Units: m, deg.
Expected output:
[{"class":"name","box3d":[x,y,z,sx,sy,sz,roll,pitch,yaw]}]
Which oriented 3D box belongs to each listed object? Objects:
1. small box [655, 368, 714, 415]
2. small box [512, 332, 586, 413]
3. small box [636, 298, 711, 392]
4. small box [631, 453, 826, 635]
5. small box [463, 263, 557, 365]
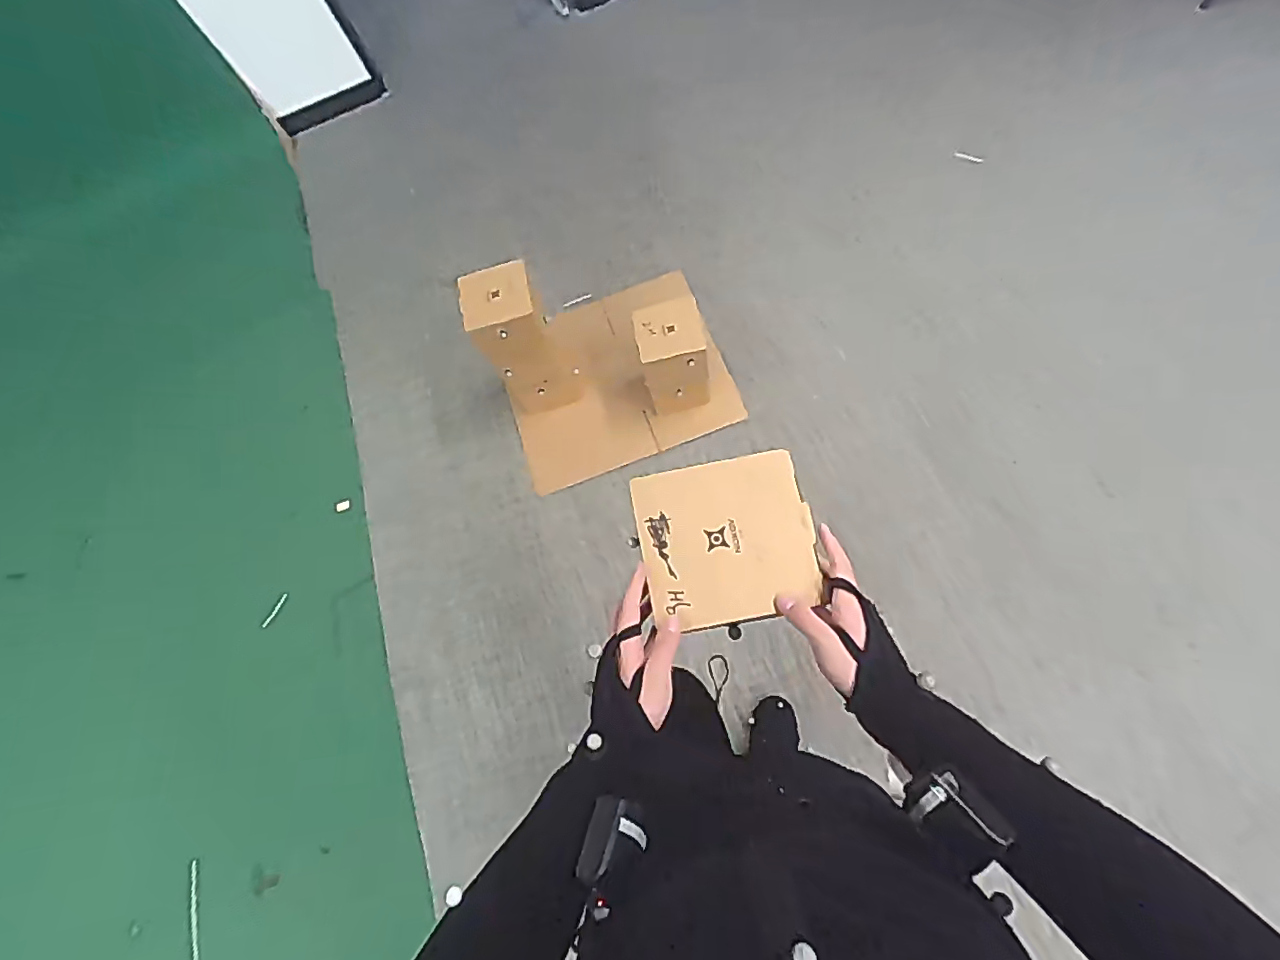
[{"class":"small box","box3d":[0.122,-0.320,1.637,0.179,0.176,0.168,-16,70,5]},{"class":"small box","box3d":[-0.287,-0.333,1.710,0.179,0.176,0.168,-17,70,4]},{"class":"small box","box3d":[0.096,-0.364,1.479,0.179,0.176,0.168,-12,70,7]},{"class":"small box","box3d":[0.092,0.083,0.632,0.179,0.176,0.168,-11,73,1]},{"class":"small box","box3d":[-0.333,-0.420,1.397,0.179,0.176,0.168,-15,71,5]}]
